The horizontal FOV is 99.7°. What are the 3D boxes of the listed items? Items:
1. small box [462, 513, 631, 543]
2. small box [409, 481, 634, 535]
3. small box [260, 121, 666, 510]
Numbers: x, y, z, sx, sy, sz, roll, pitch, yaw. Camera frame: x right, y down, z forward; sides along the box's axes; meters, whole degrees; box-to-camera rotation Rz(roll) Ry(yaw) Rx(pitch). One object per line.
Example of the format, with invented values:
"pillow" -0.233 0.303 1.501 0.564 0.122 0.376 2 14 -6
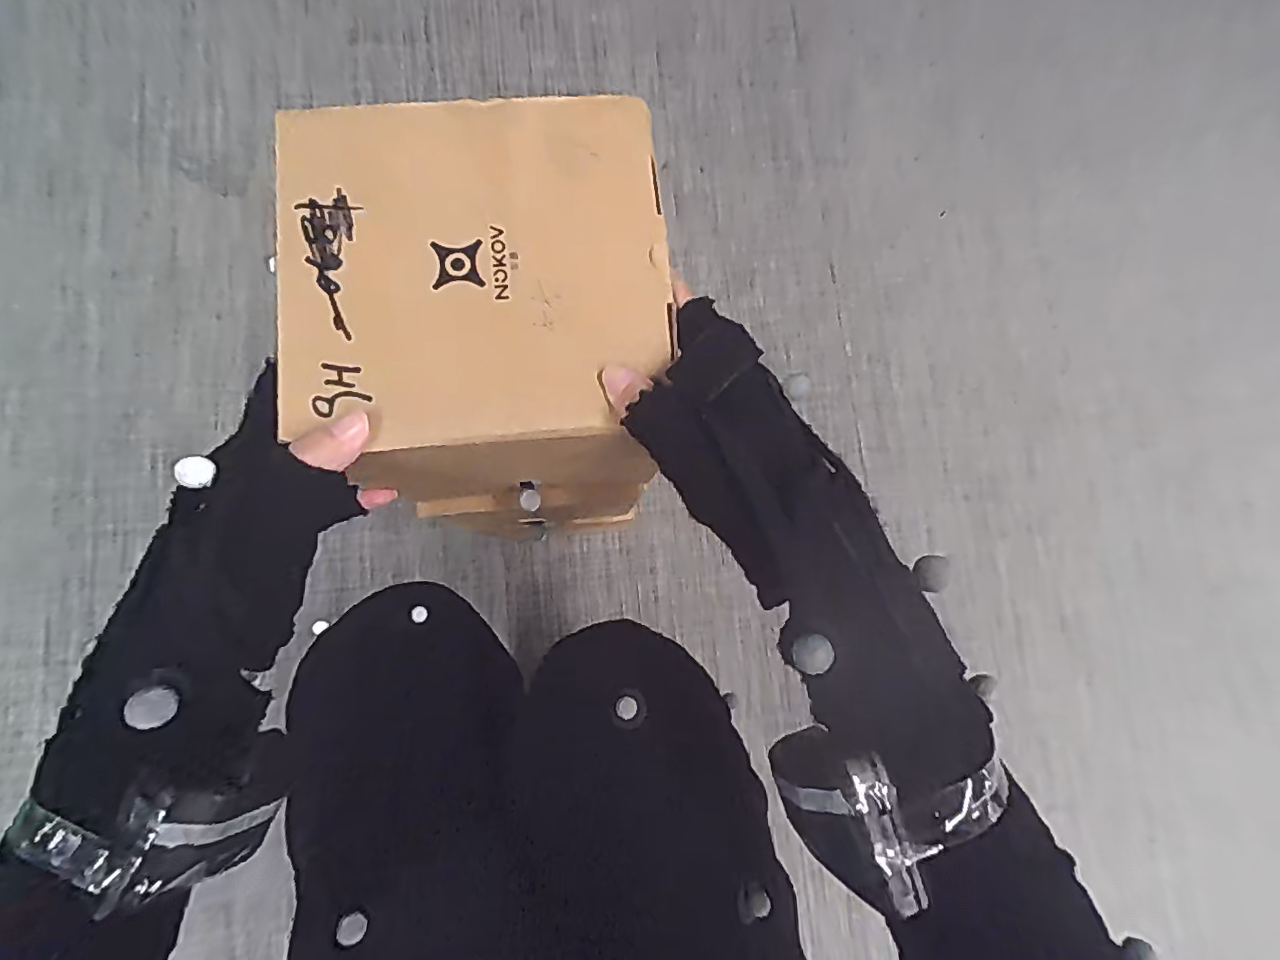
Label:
"small box" -0.106 -0.014 0.645 0.179 0.176 0.168 -3 82 -6
"small box" -0.098 -0.046 0.487 0.168 0.176 0.179 -4 82 -4
"small box" -0.087 -0.076 0.326 0.179 0.176 0.168 -5 80 -4
